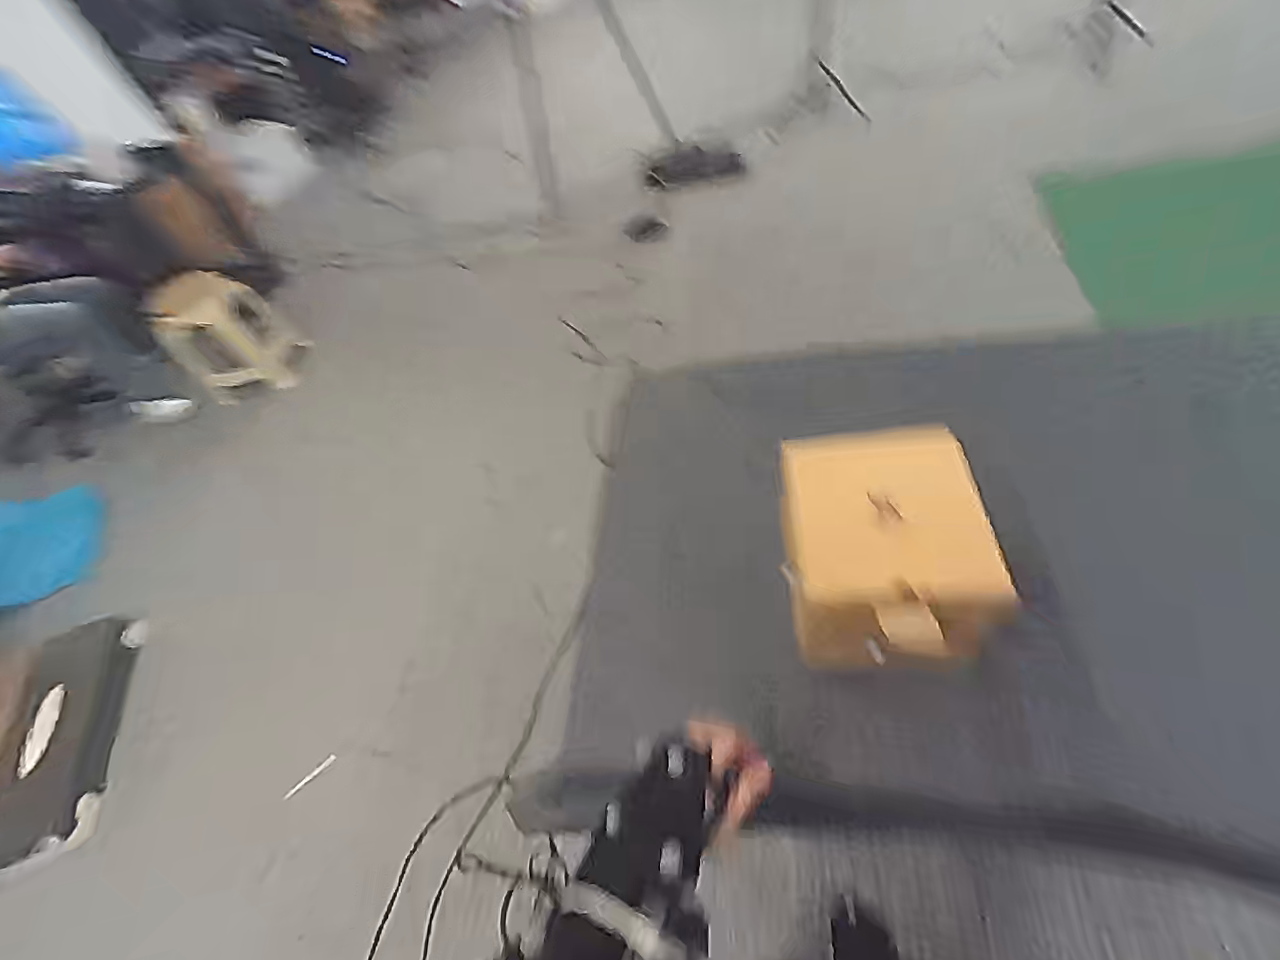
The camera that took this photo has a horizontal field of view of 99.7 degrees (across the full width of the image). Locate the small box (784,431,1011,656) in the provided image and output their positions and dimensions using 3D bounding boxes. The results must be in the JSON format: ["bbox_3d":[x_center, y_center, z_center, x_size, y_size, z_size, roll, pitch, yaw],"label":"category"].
[{"bbox_3d":[0.247,0.073,0.574,0.168,0.176,0.179,-5,53,10],"label":"small box"}]
